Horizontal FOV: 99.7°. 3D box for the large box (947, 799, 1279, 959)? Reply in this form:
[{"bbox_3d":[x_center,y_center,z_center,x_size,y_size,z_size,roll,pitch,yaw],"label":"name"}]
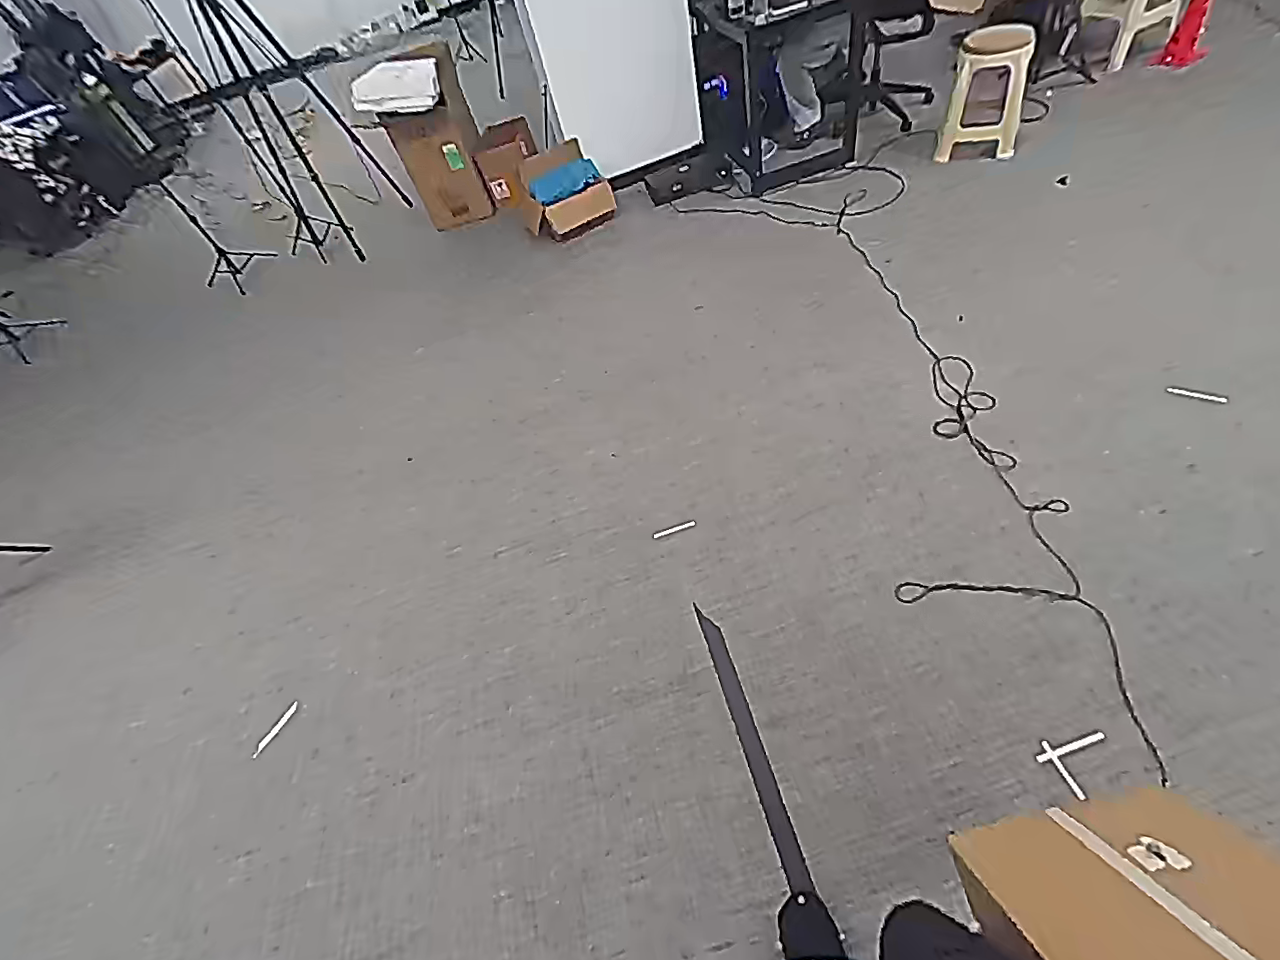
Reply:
[{"bbox_3d":[0.632,0.634,0.592,0.320,0.408,0.320,-15,83,3],"label":"large box"}]
